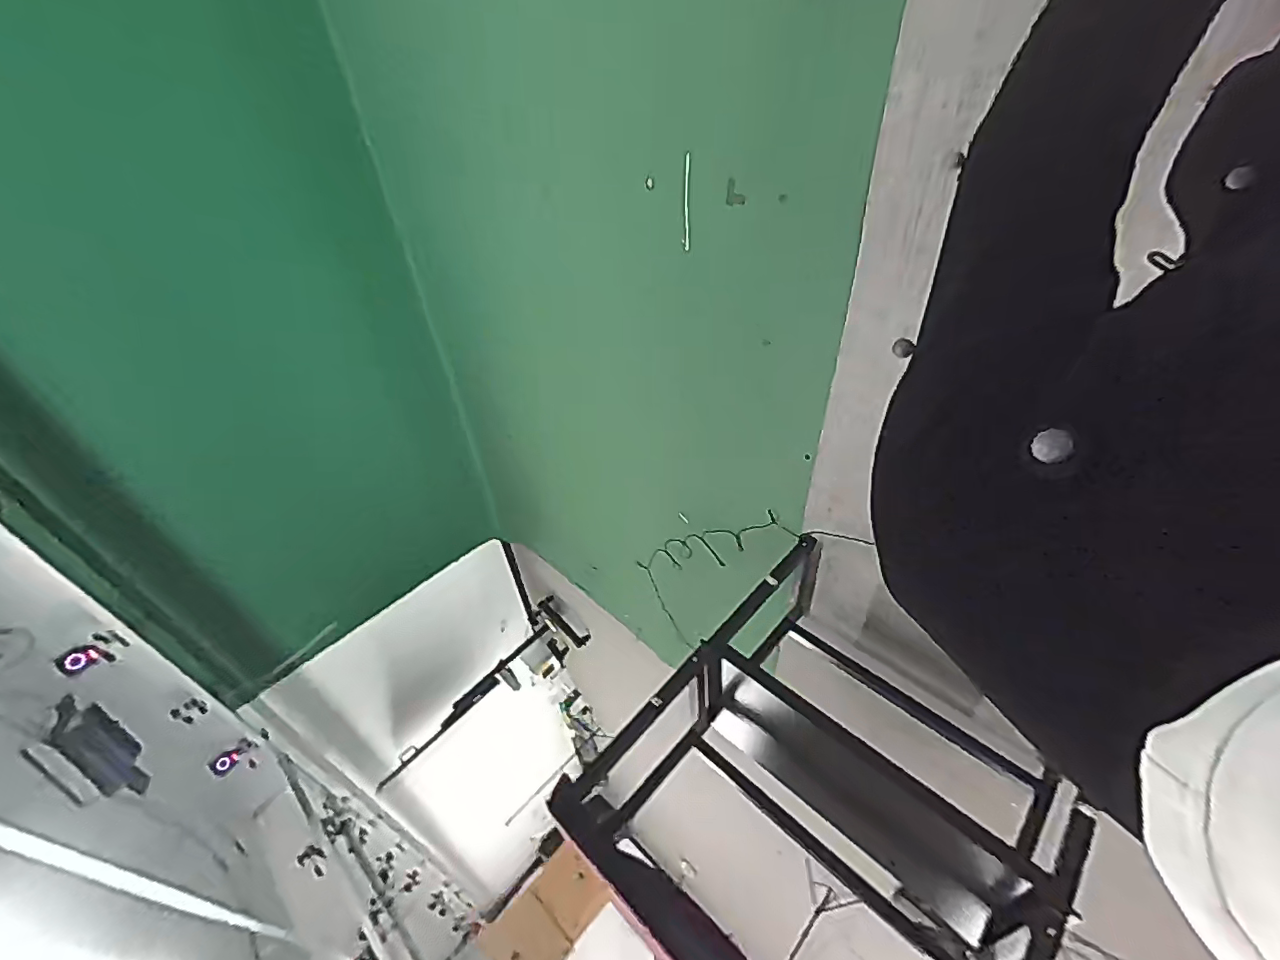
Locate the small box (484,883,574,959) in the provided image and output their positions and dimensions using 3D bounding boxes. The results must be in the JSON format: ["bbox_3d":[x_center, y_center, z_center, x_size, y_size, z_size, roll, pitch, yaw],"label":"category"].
[{"bbox_3d":[-0.300,1.287,1.512,0.179,0.176,0.168,30,141,34],"label":"small box"}]

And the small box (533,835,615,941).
[{"bbox_3d":[-0.190,1.206,1.605,0.168,0.176,0.179,30,141,34],"label":"small box"}]
